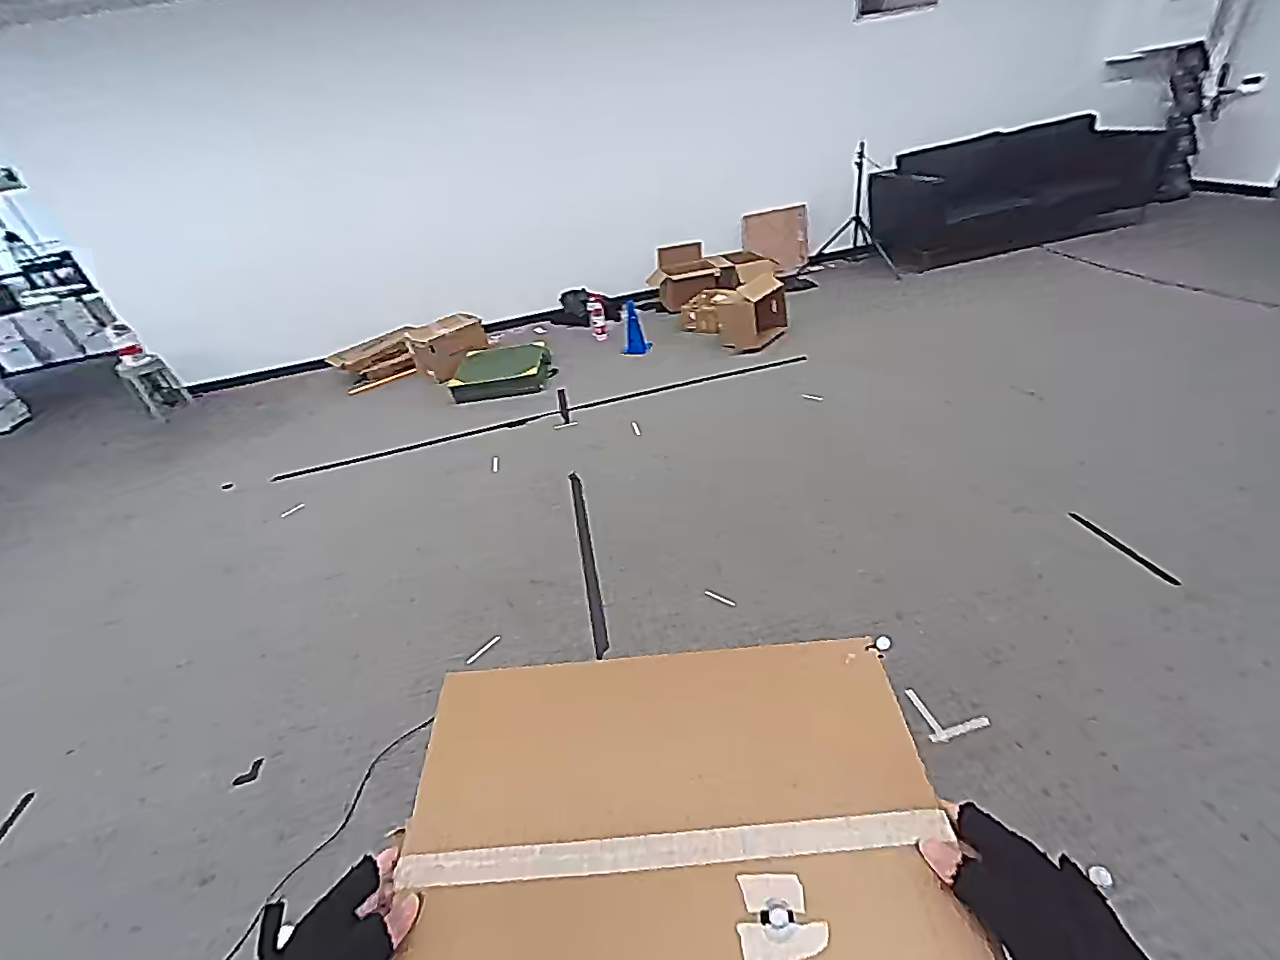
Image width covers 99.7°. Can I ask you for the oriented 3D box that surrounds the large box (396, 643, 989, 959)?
[{"bbox_3d":[0.034,0.390,0.508,0.408,0.320,0.320,-5,43,0],"label":"large box"}]
